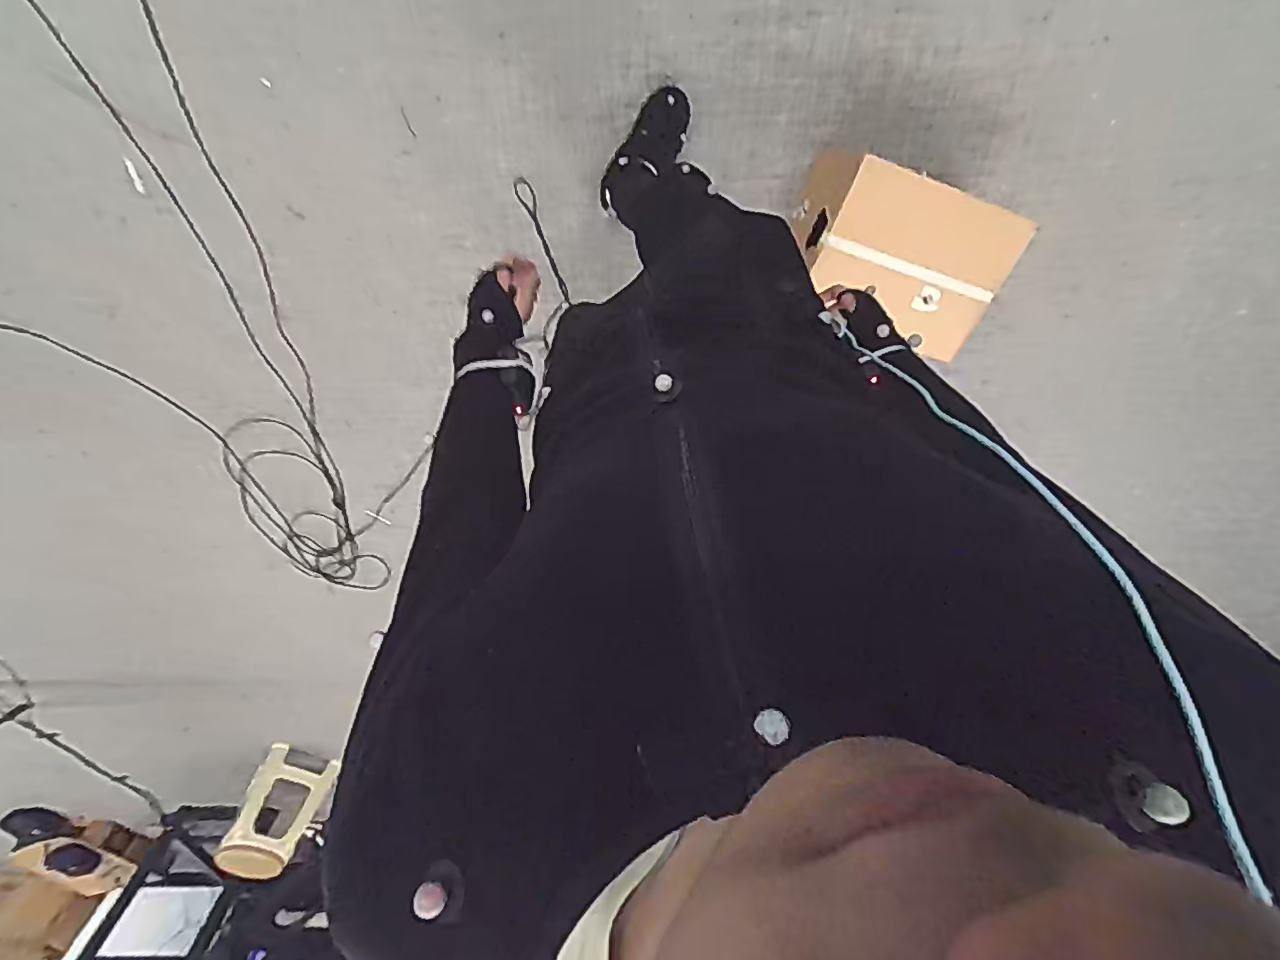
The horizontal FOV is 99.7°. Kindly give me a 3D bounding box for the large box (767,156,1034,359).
[{"bbox_3d":[0.564,-0.527,1.263,0.408,0.320,0.320,15,122,-9],"label":"large box"}]
